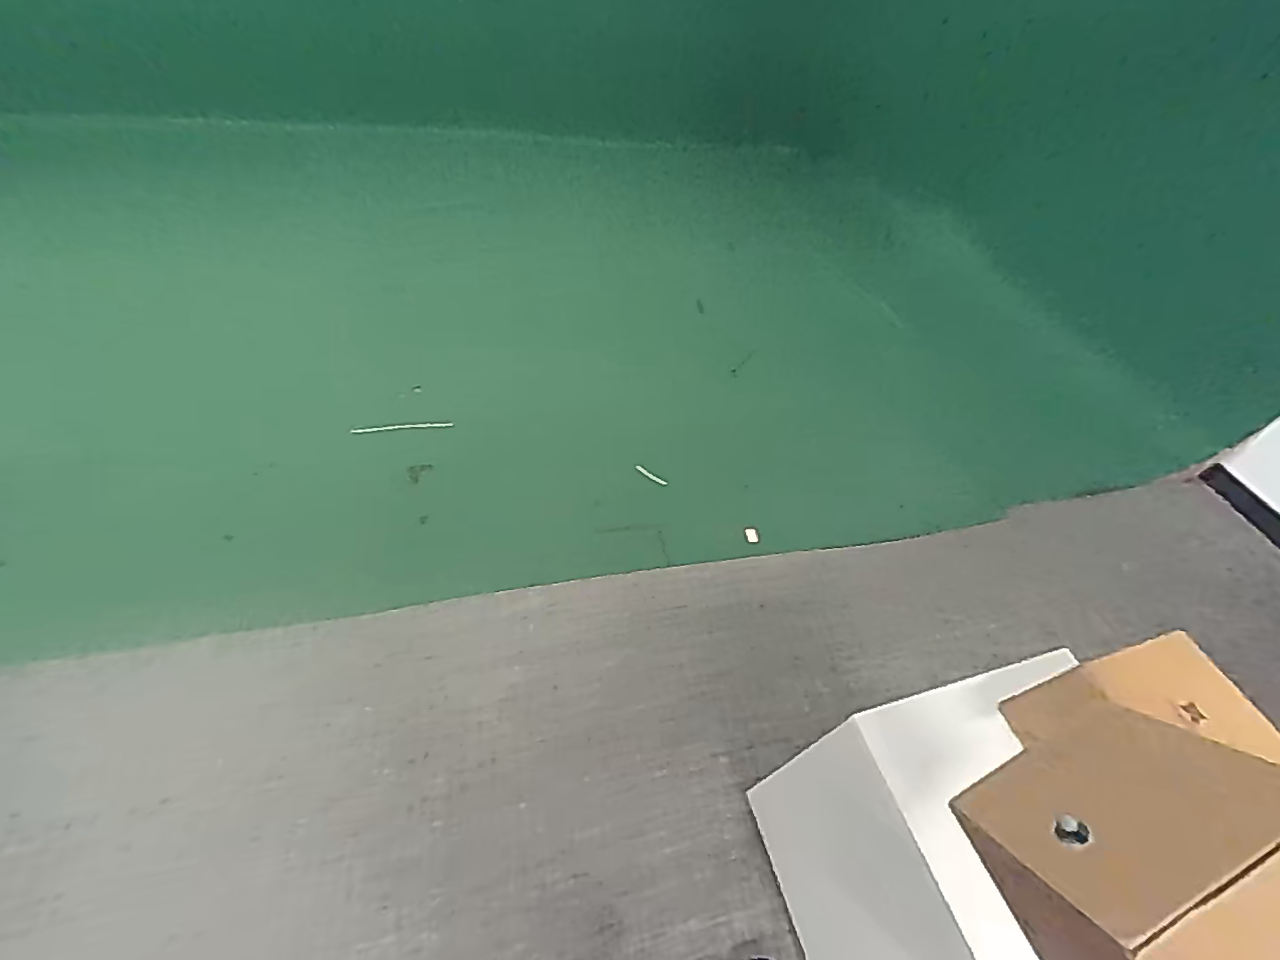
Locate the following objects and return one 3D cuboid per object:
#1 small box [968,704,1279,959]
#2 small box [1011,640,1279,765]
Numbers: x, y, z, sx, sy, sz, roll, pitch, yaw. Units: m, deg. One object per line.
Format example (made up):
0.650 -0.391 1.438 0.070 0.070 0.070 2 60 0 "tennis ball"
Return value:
0.384 0.303 0.396 0.179 0.176 0.168 -32 91 -6 "small box"
0.625 0.325 0.675 0.179 0.176 0.168 -11 53 -14 "small box"
